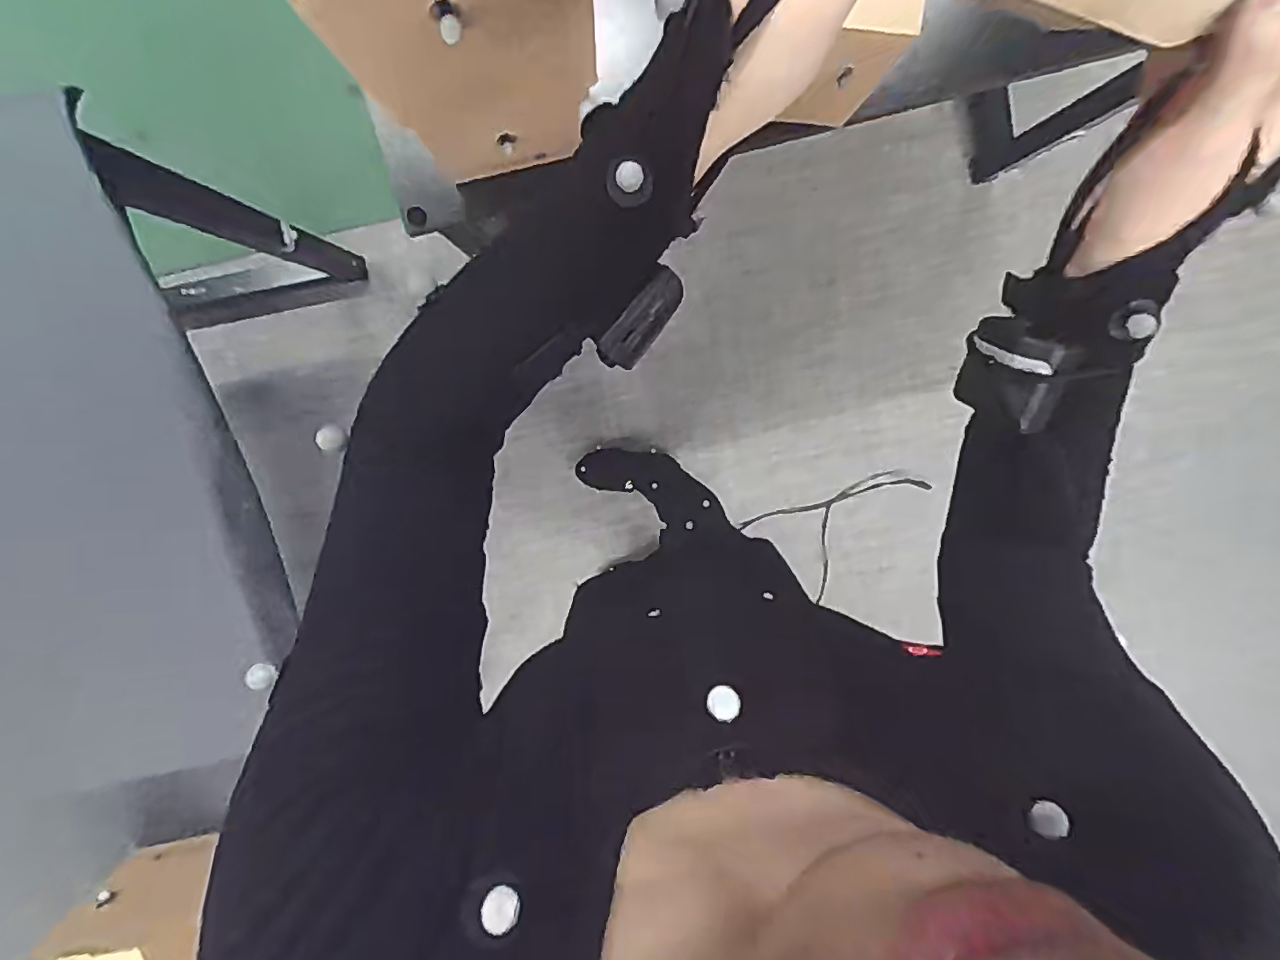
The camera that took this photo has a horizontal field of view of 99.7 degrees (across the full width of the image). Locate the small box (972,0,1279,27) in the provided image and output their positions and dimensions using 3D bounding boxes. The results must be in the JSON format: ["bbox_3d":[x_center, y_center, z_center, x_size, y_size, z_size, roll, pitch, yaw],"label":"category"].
[{"bbox_3d":[0.203,-0.319,0.222,0.168,0.176,0.179,11,126,-8],"label":"small box"}]

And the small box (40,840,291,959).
[{"bbox_3d":[-0.602,0.605,0.699,0.168,0.176,0.179,-13,101,3],"label":"small box"}]

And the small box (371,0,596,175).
[{"bbox_3d":[-0.141,-0.418,0.517,0.168,0.176,0.179,-14,101,0],"label":"small box"}]
